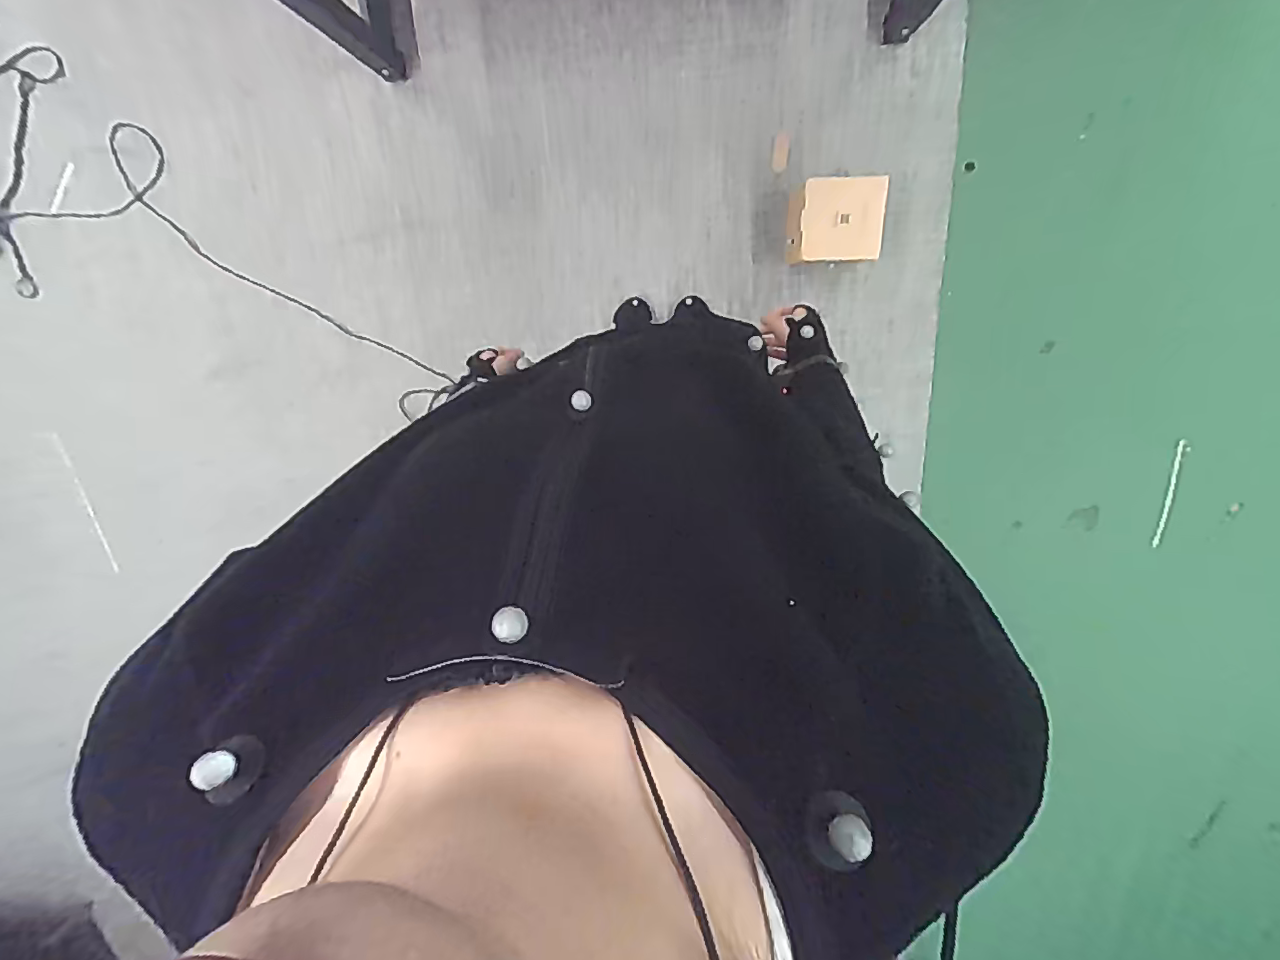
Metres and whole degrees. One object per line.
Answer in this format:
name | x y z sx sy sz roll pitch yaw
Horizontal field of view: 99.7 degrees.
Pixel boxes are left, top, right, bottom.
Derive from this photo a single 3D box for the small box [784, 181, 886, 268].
small box | 0.437 -0.581 1.244 0.179 0.176 0.168 0 109 2
